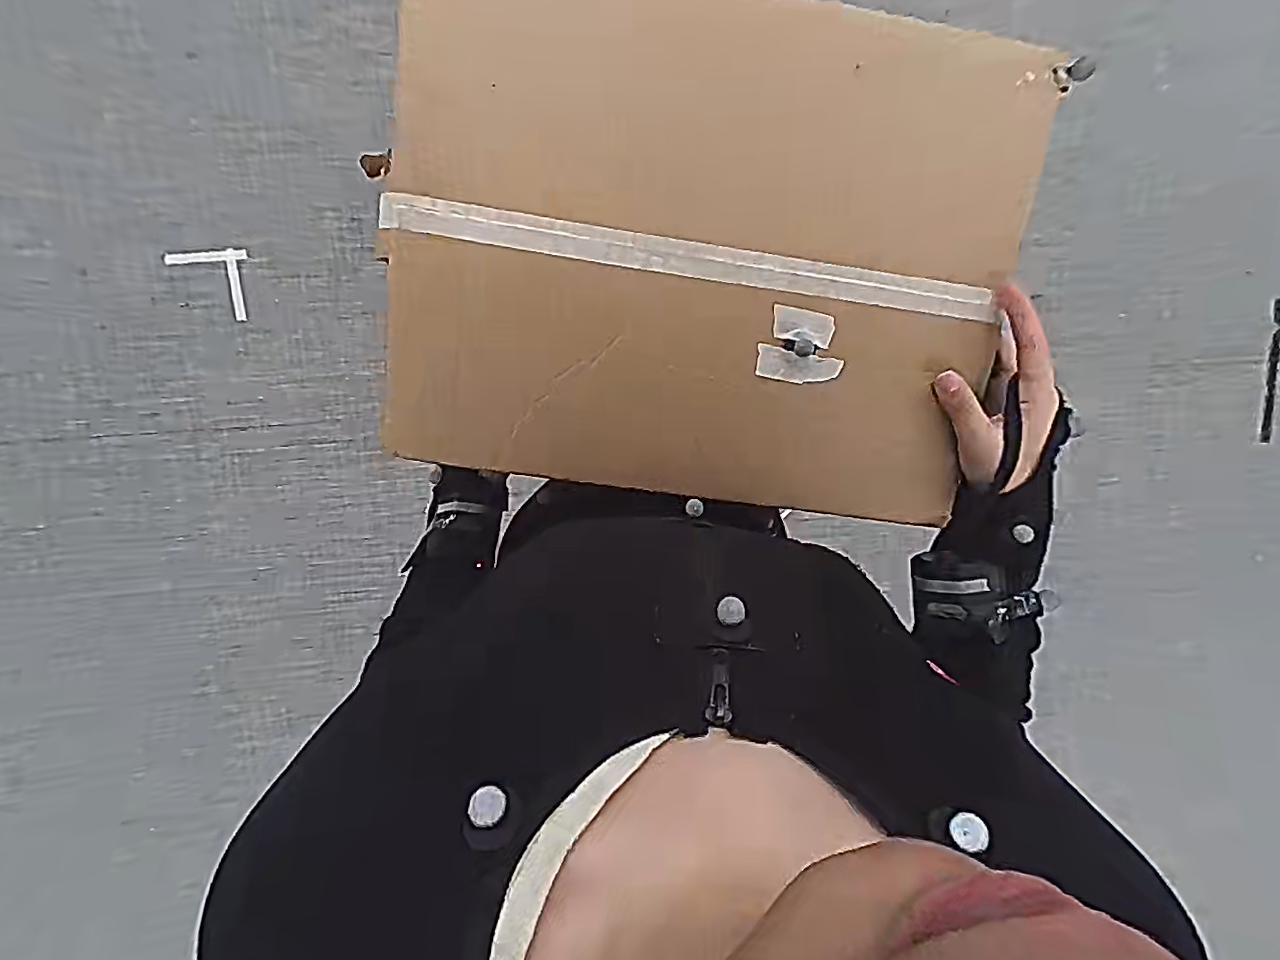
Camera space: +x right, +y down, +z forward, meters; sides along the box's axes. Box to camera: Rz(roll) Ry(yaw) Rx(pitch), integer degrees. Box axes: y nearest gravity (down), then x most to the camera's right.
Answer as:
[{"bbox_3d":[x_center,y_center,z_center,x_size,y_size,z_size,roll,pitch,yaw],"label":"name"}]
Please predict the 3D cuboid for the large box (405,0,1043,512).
[{"bbox_3d":[0.037,-0.172,0.506,0.408,0.320,0.320,6,102,-6],"label":"large box"}]
